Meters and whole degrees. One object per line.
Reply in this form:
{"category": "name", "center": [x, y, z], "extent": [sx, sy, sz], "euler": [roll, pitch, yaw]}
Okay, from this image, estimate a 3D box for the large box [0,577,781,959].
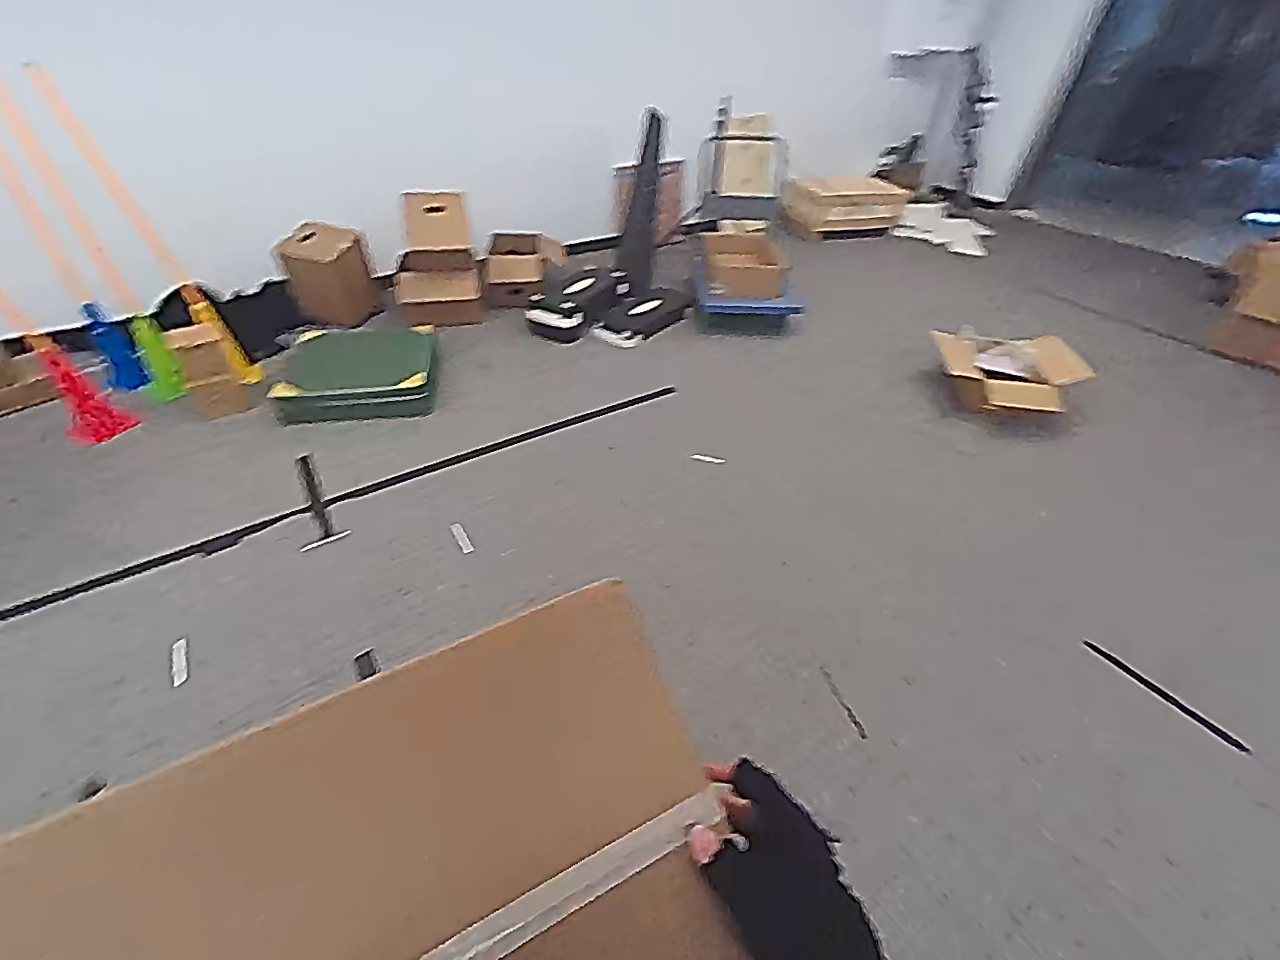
{"category": "large box", "center": [-0.164, 0.317, 0.432], "extent": [0.408, 0.320, 0.320], "euler": [-20, 79, -18]}
